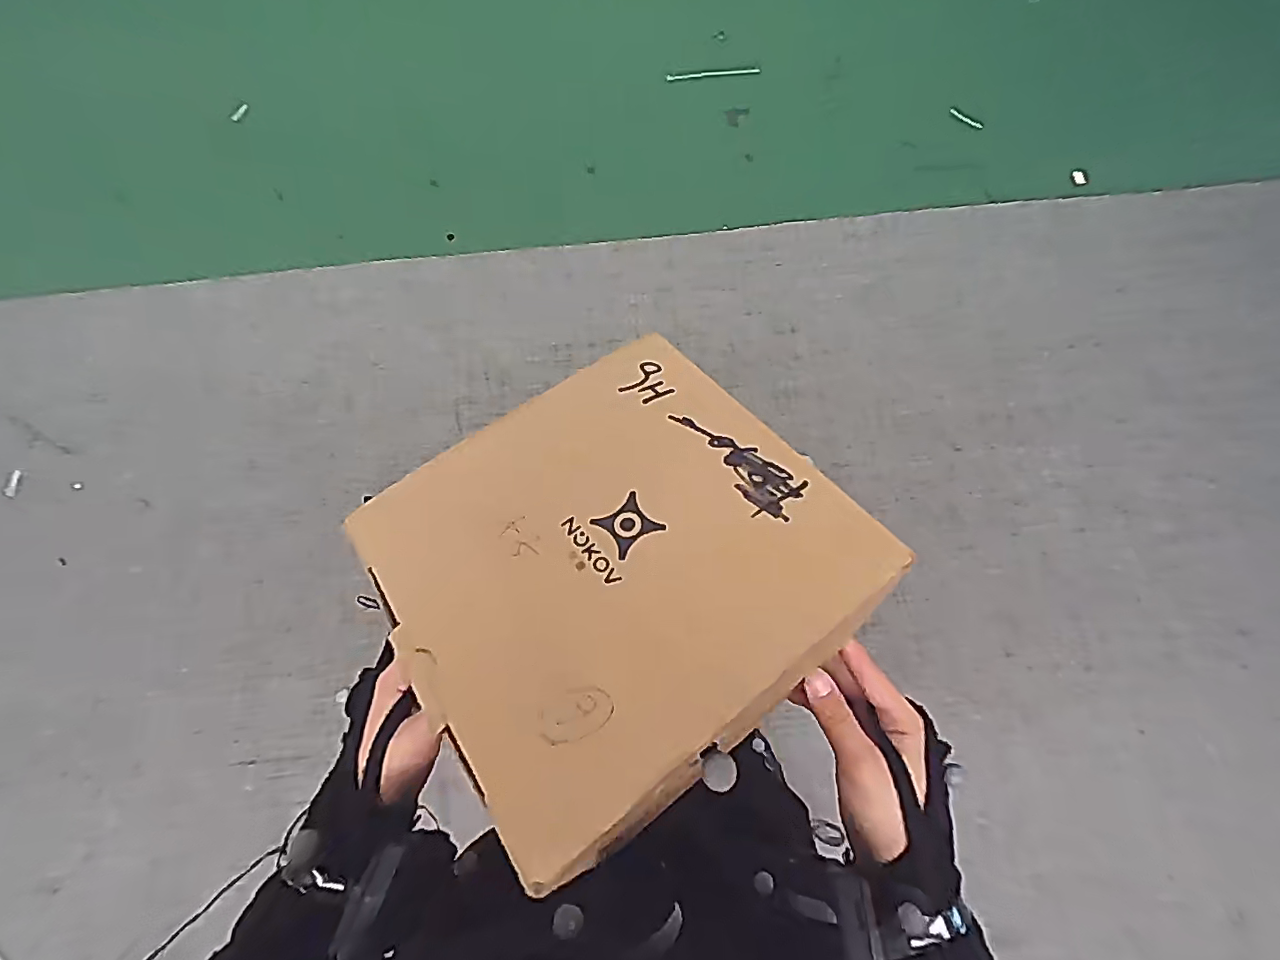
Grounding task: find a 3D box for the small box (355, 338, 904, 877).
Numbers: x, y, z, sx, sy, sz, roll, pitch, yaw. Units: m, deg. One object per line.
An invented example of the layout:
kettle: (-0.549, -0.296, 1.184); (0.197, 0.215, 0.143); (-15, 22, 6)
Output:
small box: (-0.004, 0.067, 0.290); (0.179, 0.176, 0.168); (-35, 61, -15)
